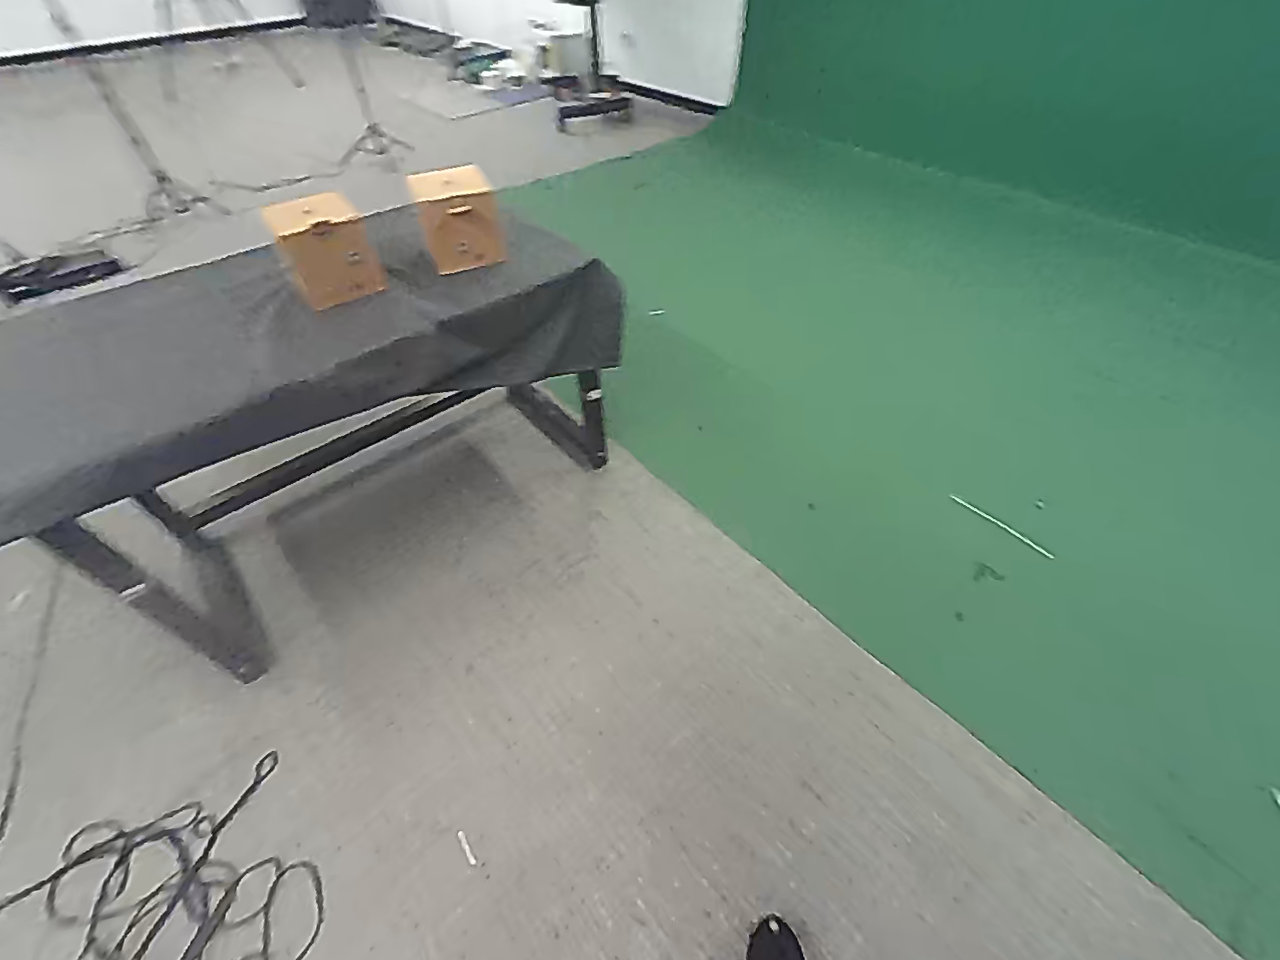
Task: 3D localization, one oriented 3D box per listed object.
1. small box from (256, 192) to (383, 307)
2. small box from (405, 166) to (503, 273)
[{"bbox_3d":[-0.693,-0.500,1.183,0.168,0.176,0.179,-29,53,-24],"label":"small box"},{"bbox_3d":[-0.436,-0.616,1.281,0.168,0.176,0.179,-19,51,-16],"label":"small box"}]
